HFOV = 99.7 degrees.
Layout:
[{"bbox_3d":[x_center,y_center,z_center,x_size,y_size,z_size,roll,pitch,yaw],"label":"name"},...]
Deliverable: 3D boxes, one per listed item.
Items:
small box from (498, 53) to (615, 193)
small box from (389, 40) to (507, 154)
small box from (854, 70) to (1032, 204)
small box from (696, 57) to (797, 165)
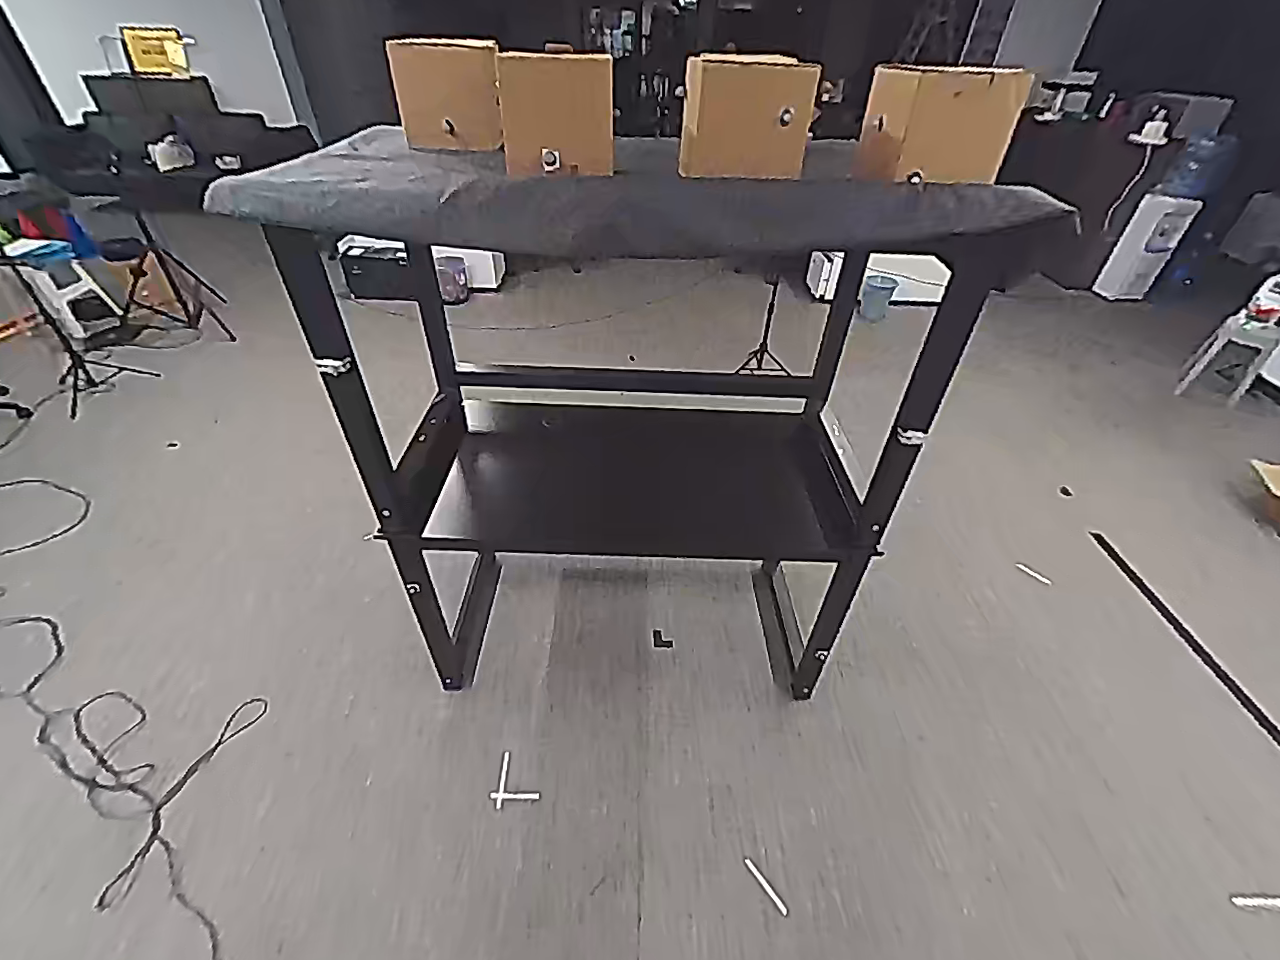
[{"bbox_3d":[-0.124,-0.573,0.868,0.168,0.176,0.179,-2,39,-4],"label":"small box"},{"bbox_3d":[-0.370,-0.763,1.083,0.179,0.176,0.168,1,40,-3],"label":"small box"},{"bbox_3d":[0.472,-0.556,0.876,0.168,0.176,0.179,0,39,-3],"label":"small box"},{"bbox_3d":[0.207,-0.753,1.104,0.168,0.176,0.179,1,40,-2],"label":"small box"}]
